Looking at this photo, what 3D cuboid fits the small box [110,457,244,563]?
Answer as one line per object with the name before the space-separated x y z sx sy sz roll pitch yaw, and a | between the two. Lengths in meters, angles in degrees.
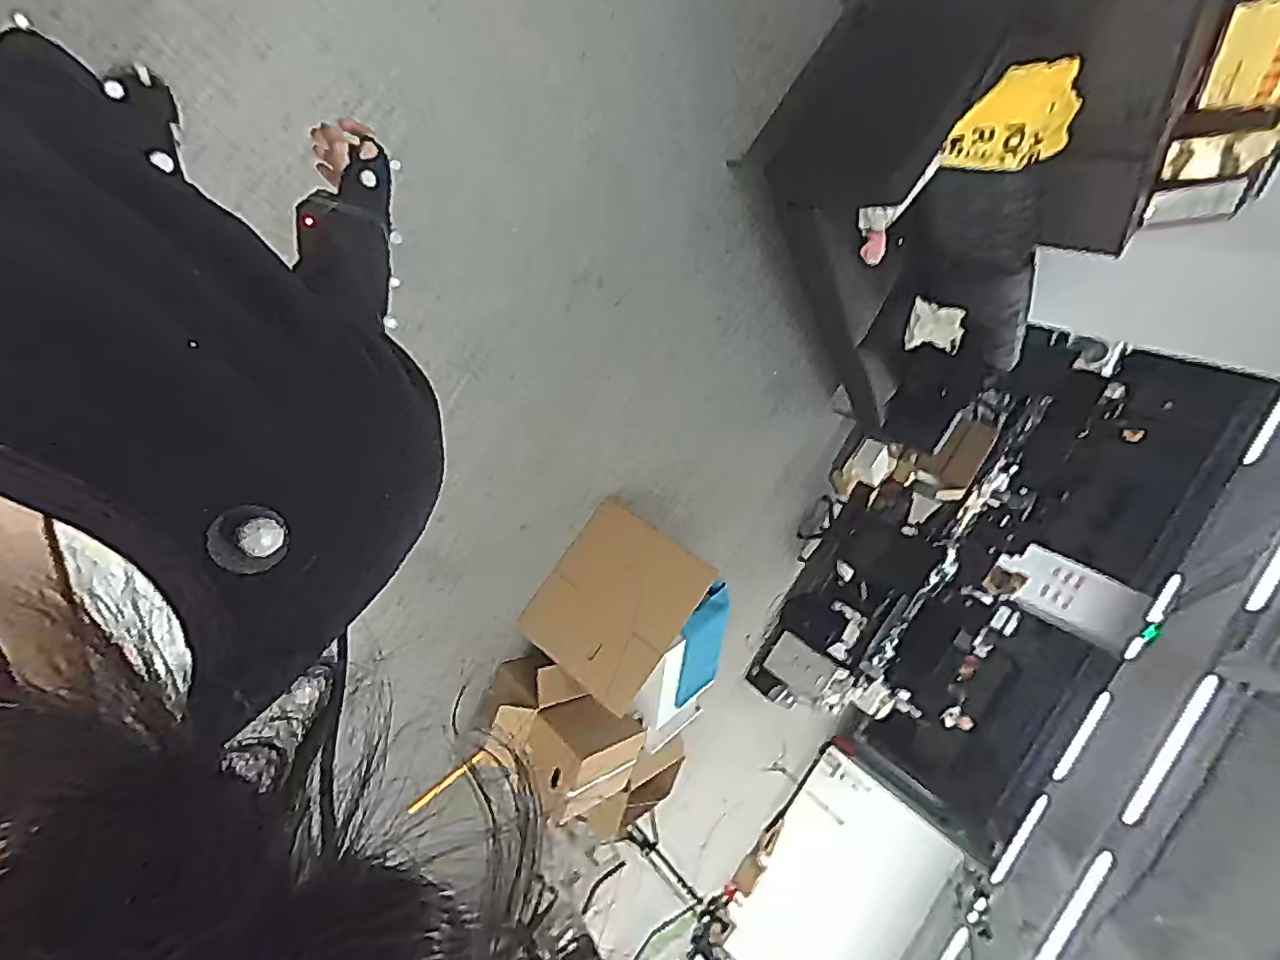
small box | -1.053 0.065 1.225 0.179 0.176 0.168 27 93 -54
